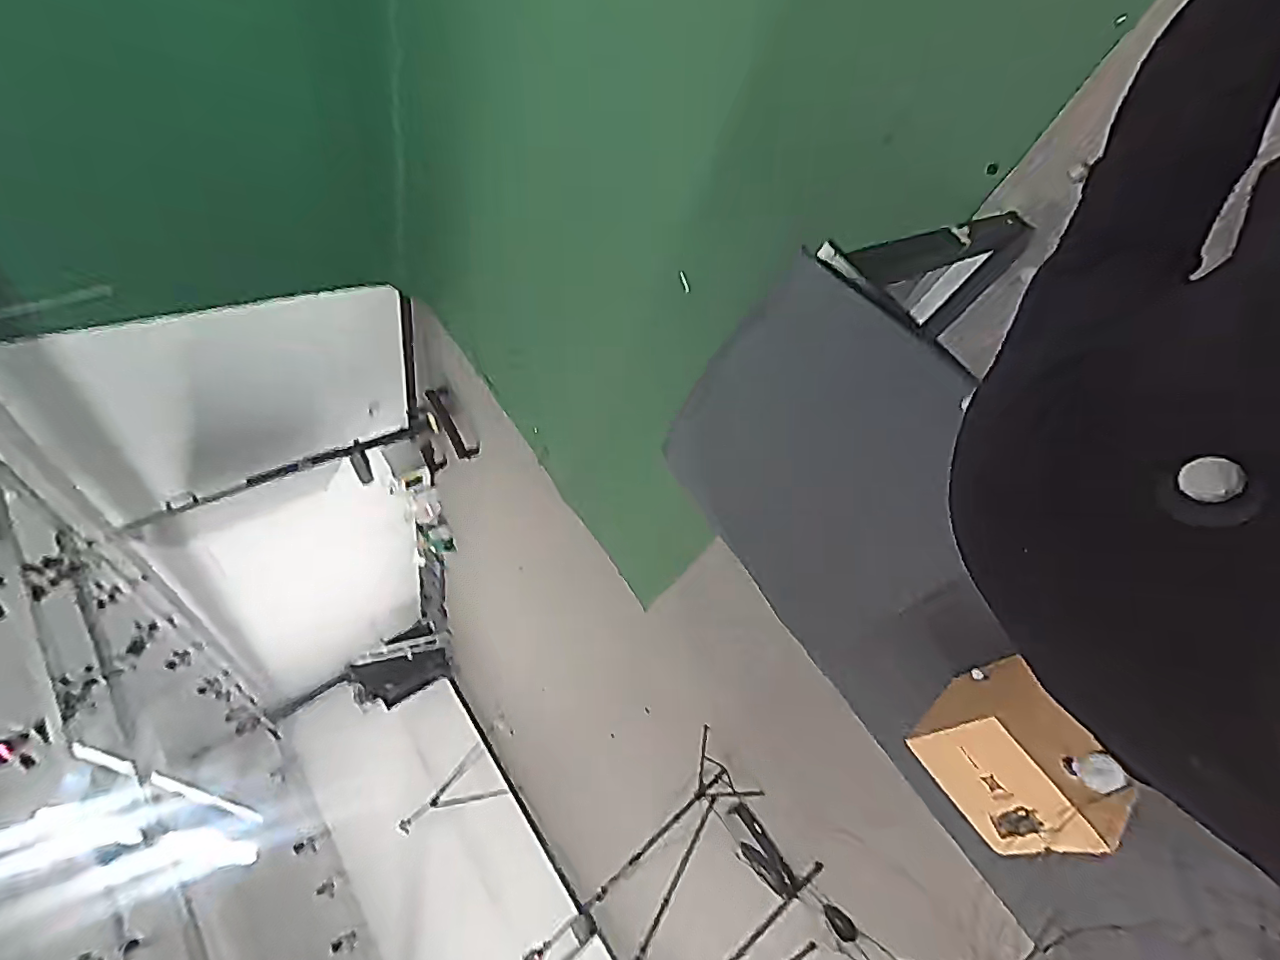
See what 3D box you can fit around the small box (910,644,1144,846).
[{"bbox_3d":[0.529,0.362,0.745,0.179,0.176,0.168,52,145,19],"label":"small box"}]
